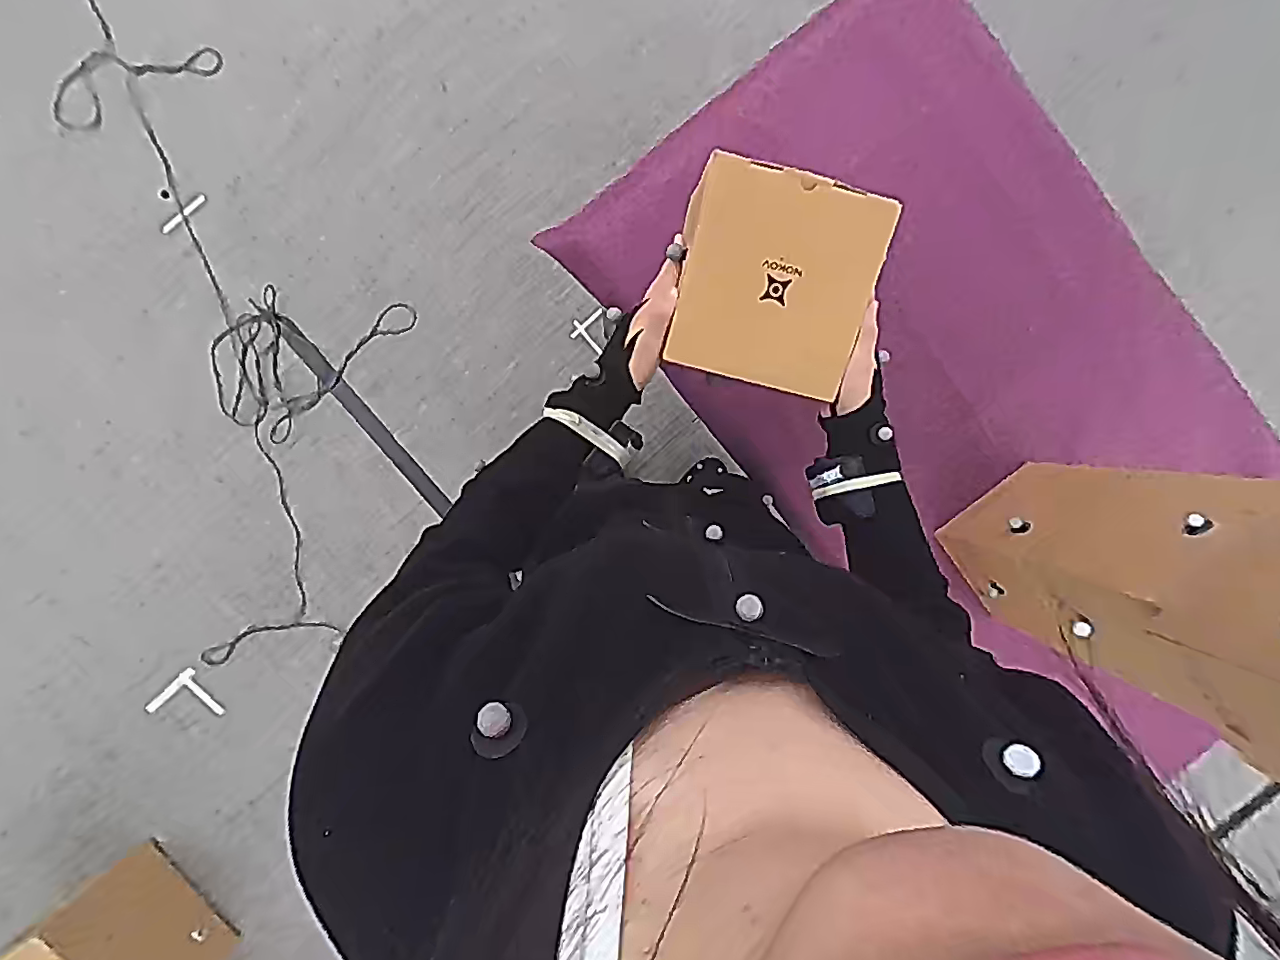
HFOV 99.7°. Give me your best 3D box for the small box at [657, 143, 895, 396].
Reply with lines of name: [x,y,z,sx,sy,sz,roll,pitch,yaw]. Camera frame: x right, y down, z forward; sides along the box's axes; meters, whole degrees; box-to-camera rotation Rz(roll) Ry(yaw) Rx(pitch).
small box: [0.114,-0.196,0.541,0.168,0.176,0.179,12,105,-5]

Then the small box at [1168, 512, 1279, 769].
small box: [0.555,0.138,0.396,0.179,0.176,0.168,-41,96,1]

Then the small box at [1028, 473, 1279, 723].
small box: [0.563,0.107,0.557,0.179,0.176,0.168,-37,95,1]

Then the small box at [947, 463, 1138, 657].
small box: [0.550,0.093,0.720,0.179,0.176,0.168,-37,96,0]
